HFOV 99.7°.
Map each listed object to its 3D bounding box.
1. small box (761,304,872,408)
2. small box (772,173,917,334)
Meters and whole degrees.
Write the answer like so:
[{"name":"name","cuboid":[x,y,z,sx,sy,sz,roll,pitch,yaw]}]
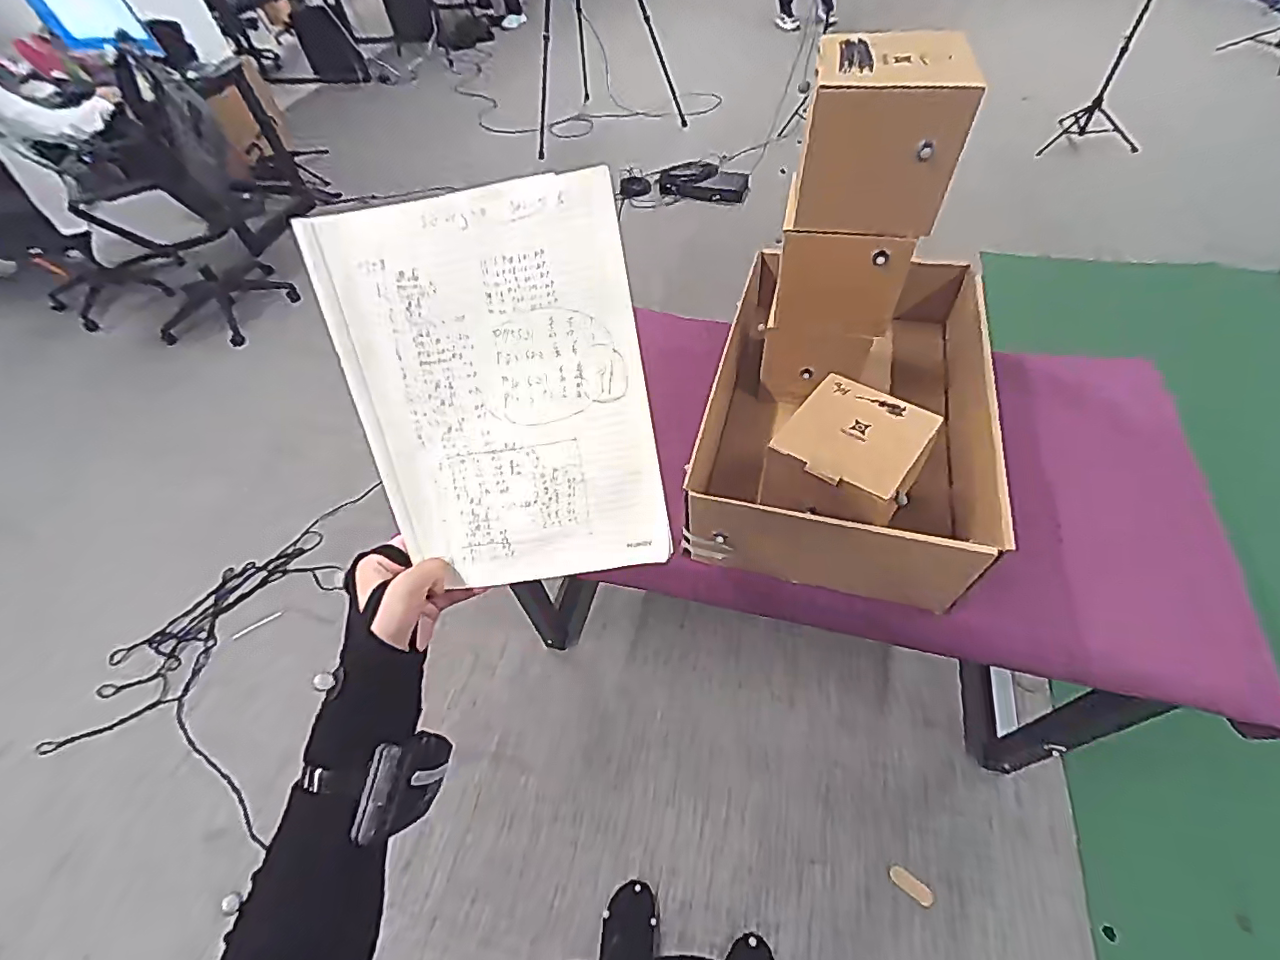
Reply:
[{"name":"small box","cuboid":[0.312,-0.250,0.957,0.168,0.176,0.179,11,57,14]},{"name":"small box","cuboid":[0.302,-0.342,0.824,0.179,0.176,0.168,9,56,12]}]
